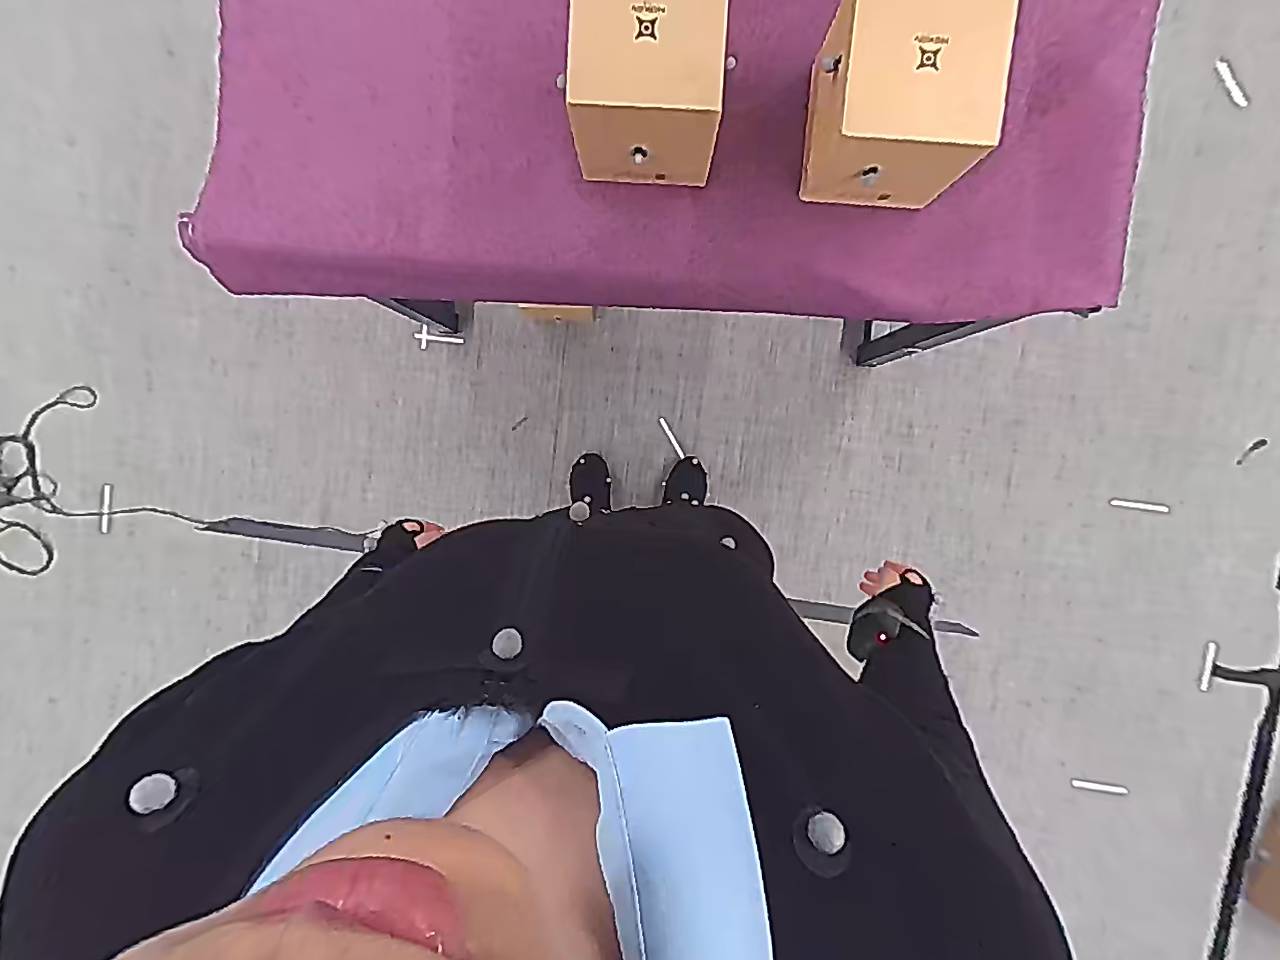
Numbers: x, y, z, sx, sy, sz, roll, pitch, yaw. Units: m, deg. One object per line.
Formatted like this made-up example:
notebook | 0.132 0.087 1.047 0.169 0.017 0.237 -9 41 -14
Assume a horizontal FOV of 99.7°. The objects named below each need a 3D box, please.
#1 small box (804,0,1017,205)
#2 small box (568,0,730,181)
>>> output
small box | 0.302 -0.449 0.640 0.168 0.176 0.179 5 94 1
small box | 0.013 -0.484 0.643 0.168 0.176 0.179 4 93 0
